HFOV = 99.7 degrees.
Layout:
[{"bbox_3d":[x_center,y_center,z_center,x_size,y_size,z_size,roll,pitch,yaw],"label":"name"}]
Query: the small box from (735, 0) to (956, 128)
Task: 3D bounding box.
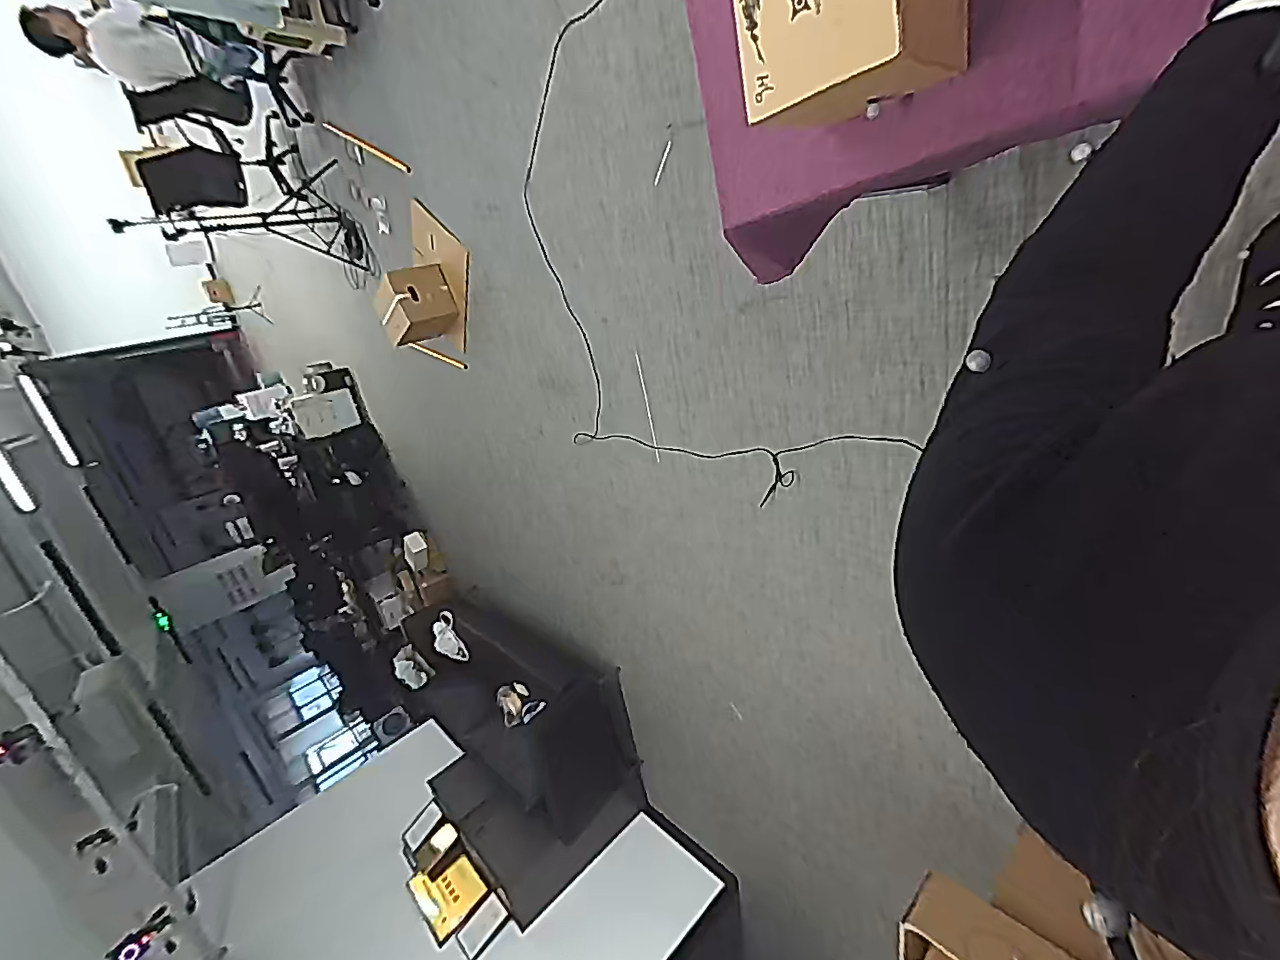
[{"bbox_3d":[0.227,-0.504,0.587,0.179,0.176,0.168,10,118,47],"label":"small box"}]
